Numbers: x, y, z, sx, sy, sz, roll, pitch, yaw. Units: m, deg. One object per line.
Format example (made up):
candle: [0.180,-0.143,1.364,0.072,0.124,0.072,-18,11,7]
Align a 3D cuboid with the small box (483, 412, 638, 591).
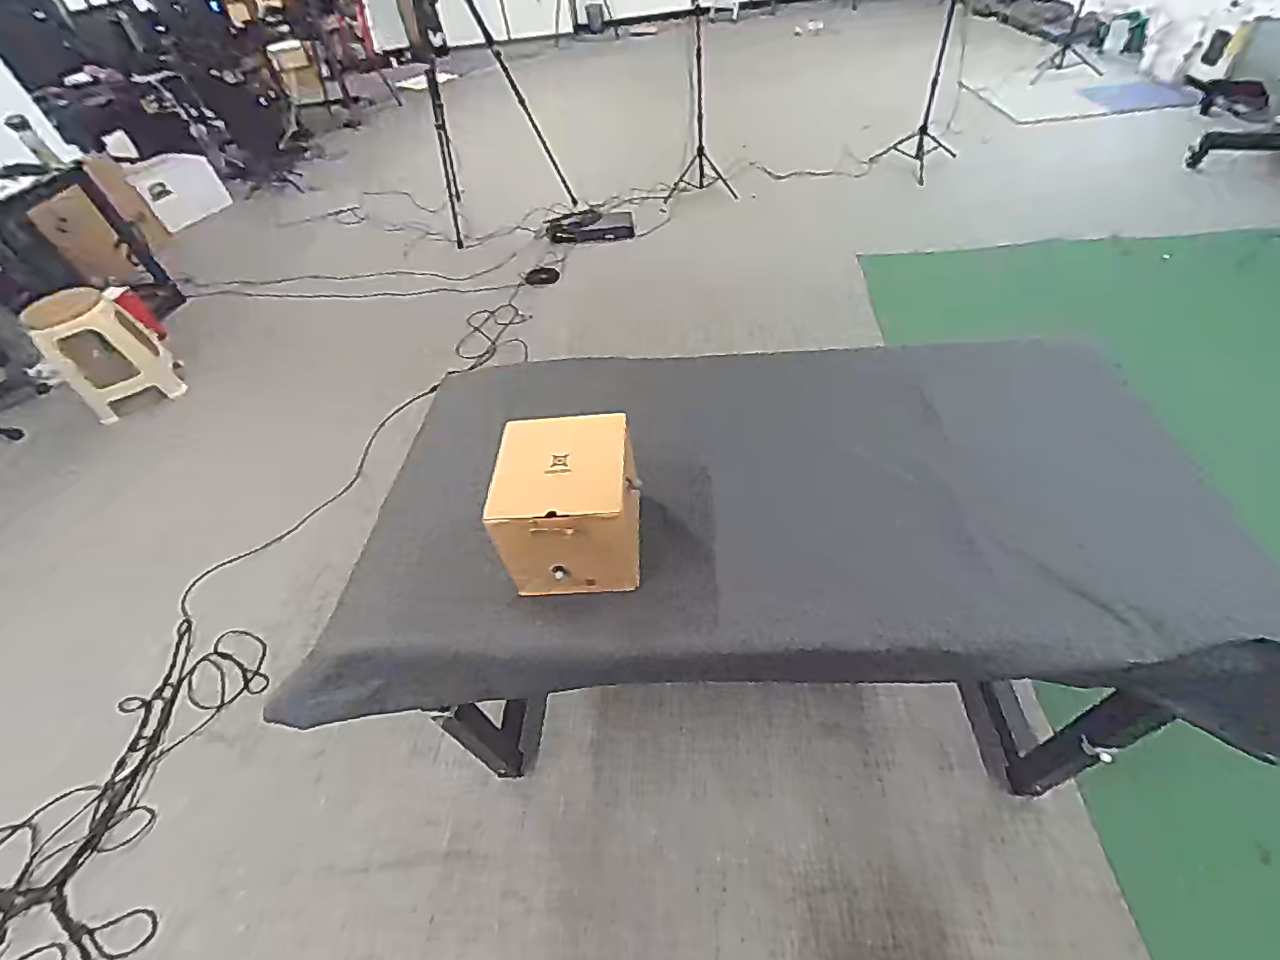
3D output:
small box: [-0.093,0.031,0.730,0.168,0.176,0.179,-4,48,4]
